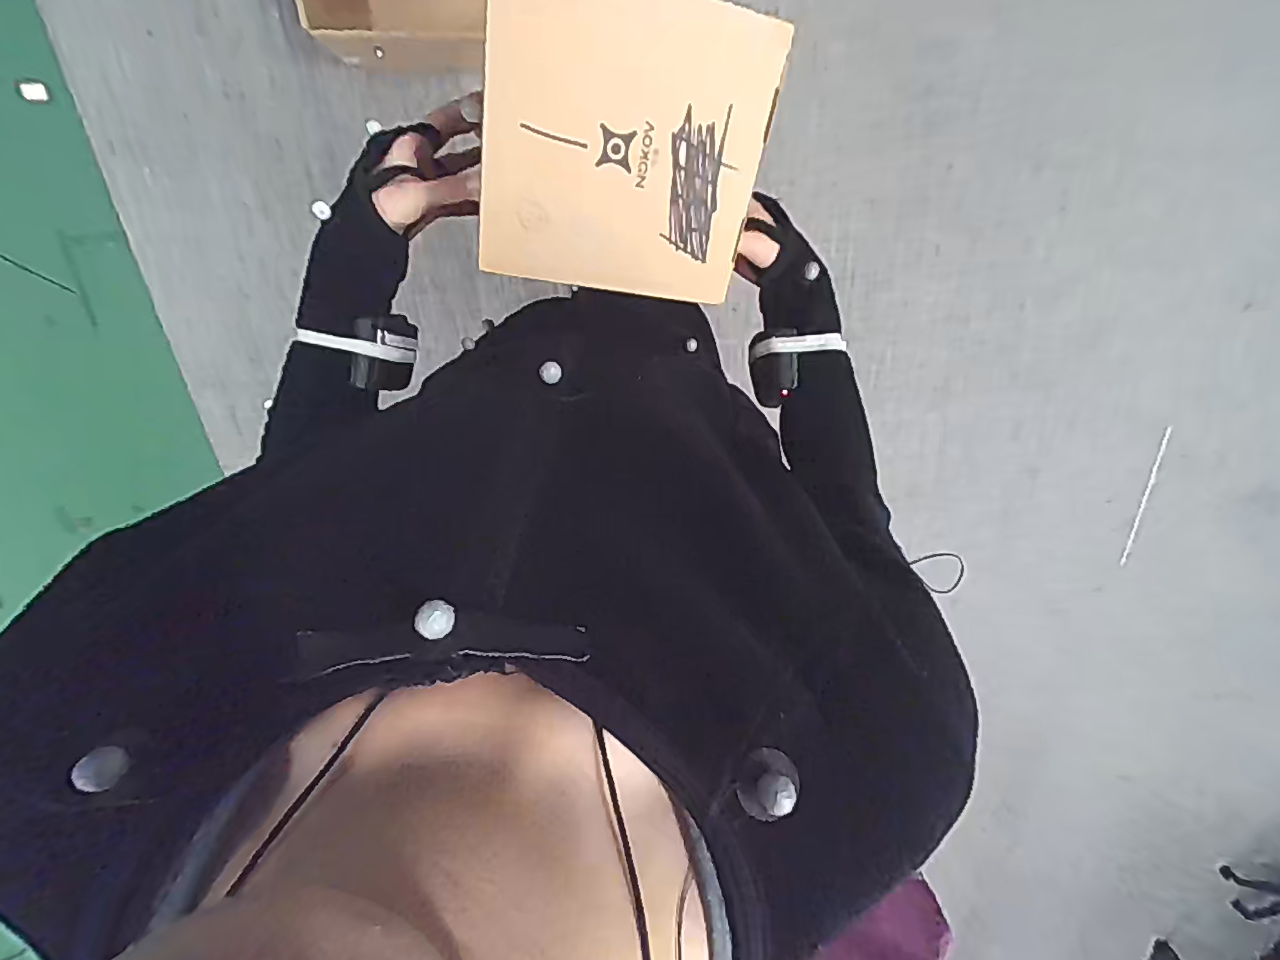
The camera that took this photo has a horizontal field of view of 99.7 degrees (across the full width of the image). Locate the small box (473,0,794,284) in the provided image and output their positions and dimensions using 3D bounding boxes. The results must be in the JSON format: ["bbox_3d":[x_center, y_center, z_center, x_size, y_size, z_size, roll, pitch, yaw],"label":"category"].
[{"bbox_3d":[-0.024,-0.256,0.392,0.179,0.176,0.168,3,121,-15],"label":"small box"}]
